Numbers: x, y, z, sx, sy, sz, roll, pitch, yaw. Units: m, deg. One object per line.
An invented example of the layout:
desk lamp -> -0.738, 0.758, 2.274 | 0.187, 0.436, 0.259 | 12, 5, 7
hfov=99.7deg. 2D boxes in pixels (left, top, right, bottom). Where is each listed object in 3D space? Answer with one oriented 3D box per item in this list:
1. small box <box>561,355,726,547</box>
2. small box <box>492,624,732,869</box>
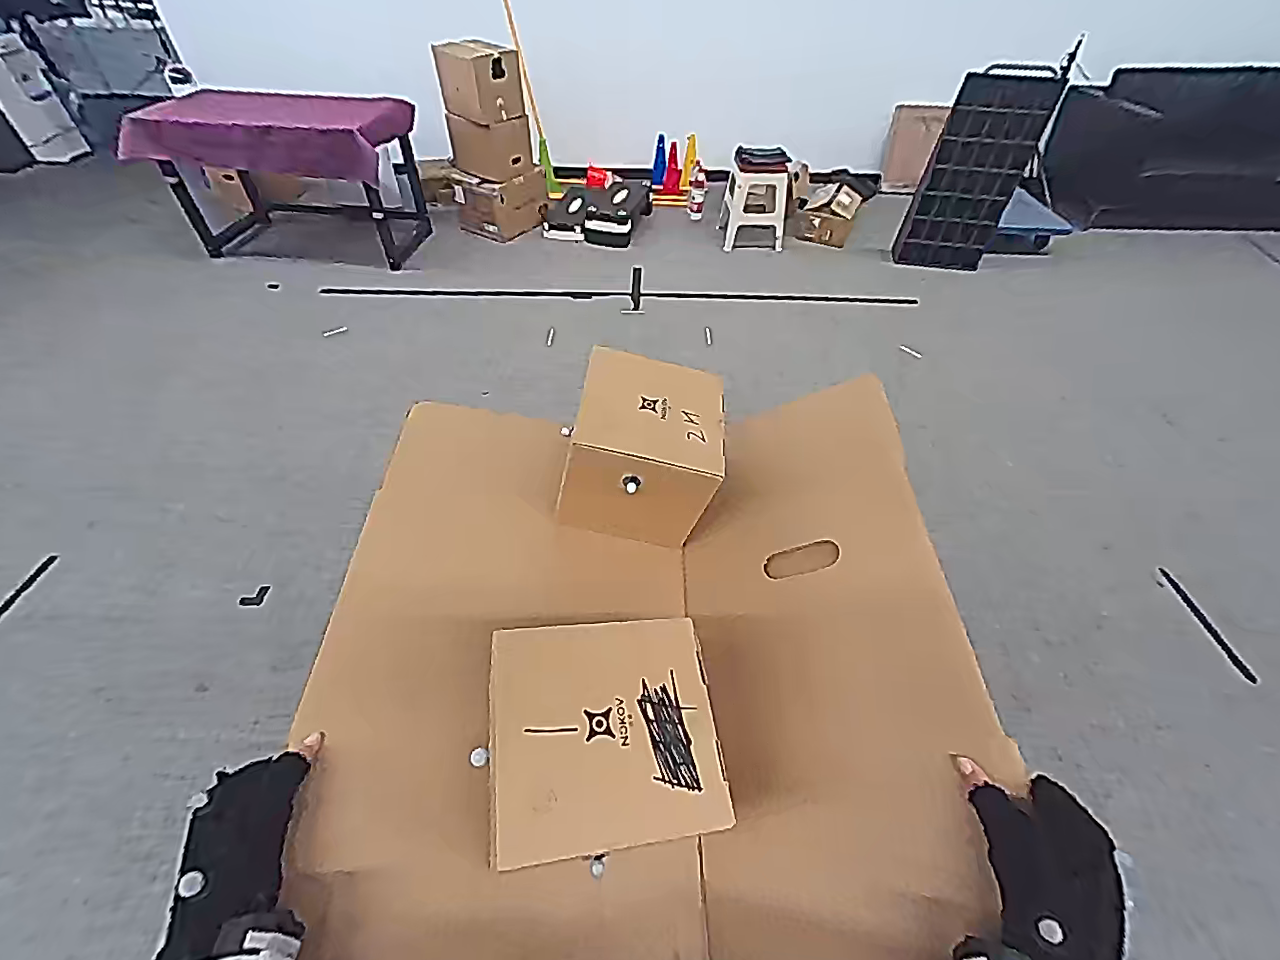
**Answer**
small box -> 0.002, -0.030, 0.711 | 0.179, 0.176, 0.168 | 14, 52, -8
small box -> -0.041, 0.243, 0.496 | 0.179, 0.176, 0.168 | 1, 55, -16
